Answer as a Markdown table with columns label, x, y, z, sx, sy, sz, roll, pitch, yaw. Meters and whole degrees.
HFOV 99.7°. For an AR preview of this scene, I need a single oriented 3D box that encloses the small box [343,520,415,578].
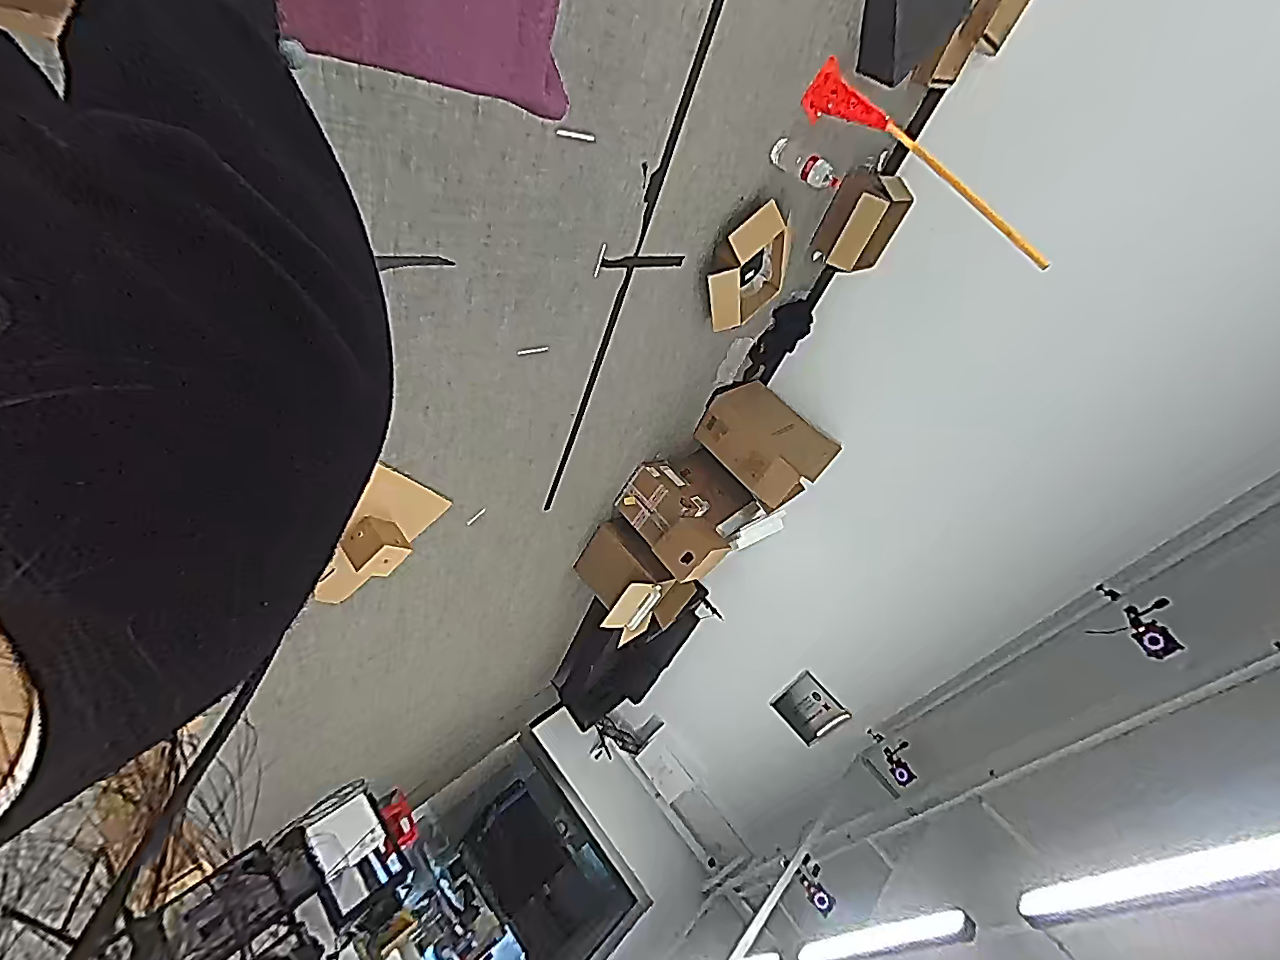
| label | x | y | z | sx | sy | sz | roll | pitch | yaw |
| --- | --- | --- | --- | --- | --- | --- | --- | --- | --- |
| small box | -1.087 | 0.286 | 2.249 | 0.168 | 0.176 | 0.179 | -45 | 157 | 2 |

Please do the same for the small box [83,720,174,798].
| label | x | y | z | sx | sy | sz | roll | pitch | yaw |
| --- | --- | --- | --- | --- | --- | --- | --- | --- | --- |
| small box | -1.555 | 0.867 | 1.650 | 0.168 | 0.176 | 0.179 | -20 | 148 | -47 |

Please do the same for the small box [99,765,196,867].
| label | x | y | z | sx | sy | sz | roll | pitch | yaw |
| --- | --- | --- | --- | --- | --- | --- | --- | --- | --- |
| small box | -1.452 | 0.982 | 1.595 | 0.168 | 0.176 | 0.179 | -21 | 147 | -44 |
